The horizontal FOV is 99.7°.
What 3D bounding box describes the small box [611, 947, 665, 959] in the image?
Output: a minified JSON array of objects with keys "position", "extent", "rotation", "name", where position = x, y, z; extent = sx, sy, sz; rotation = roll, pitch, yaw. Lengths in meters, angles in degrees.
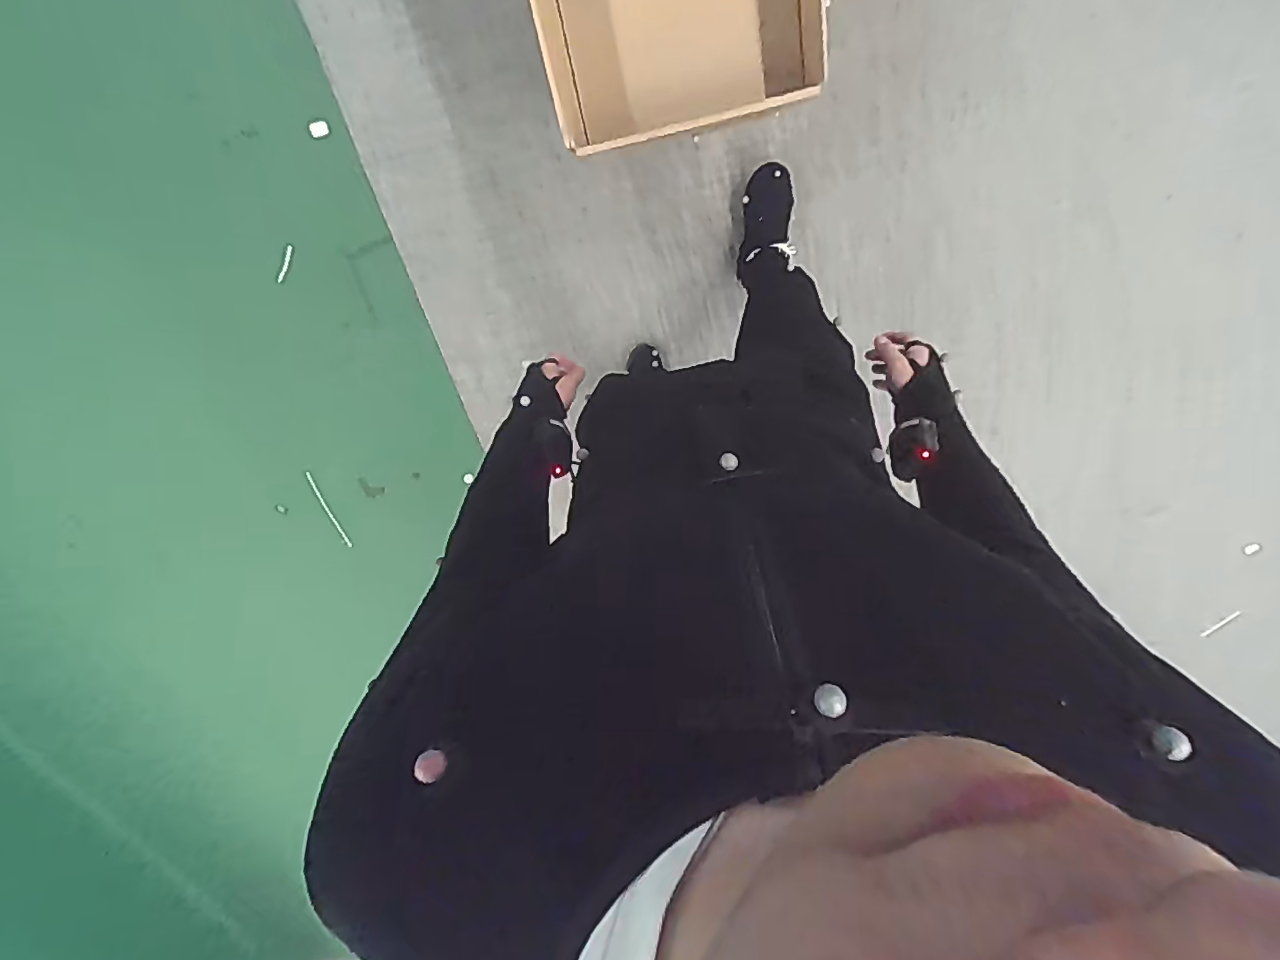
[{"position":[-0.003,1.596,1.679],"extent":[0.168,0.176,0.179],"rotation":[-7,117,10],"name":"small box"}]
